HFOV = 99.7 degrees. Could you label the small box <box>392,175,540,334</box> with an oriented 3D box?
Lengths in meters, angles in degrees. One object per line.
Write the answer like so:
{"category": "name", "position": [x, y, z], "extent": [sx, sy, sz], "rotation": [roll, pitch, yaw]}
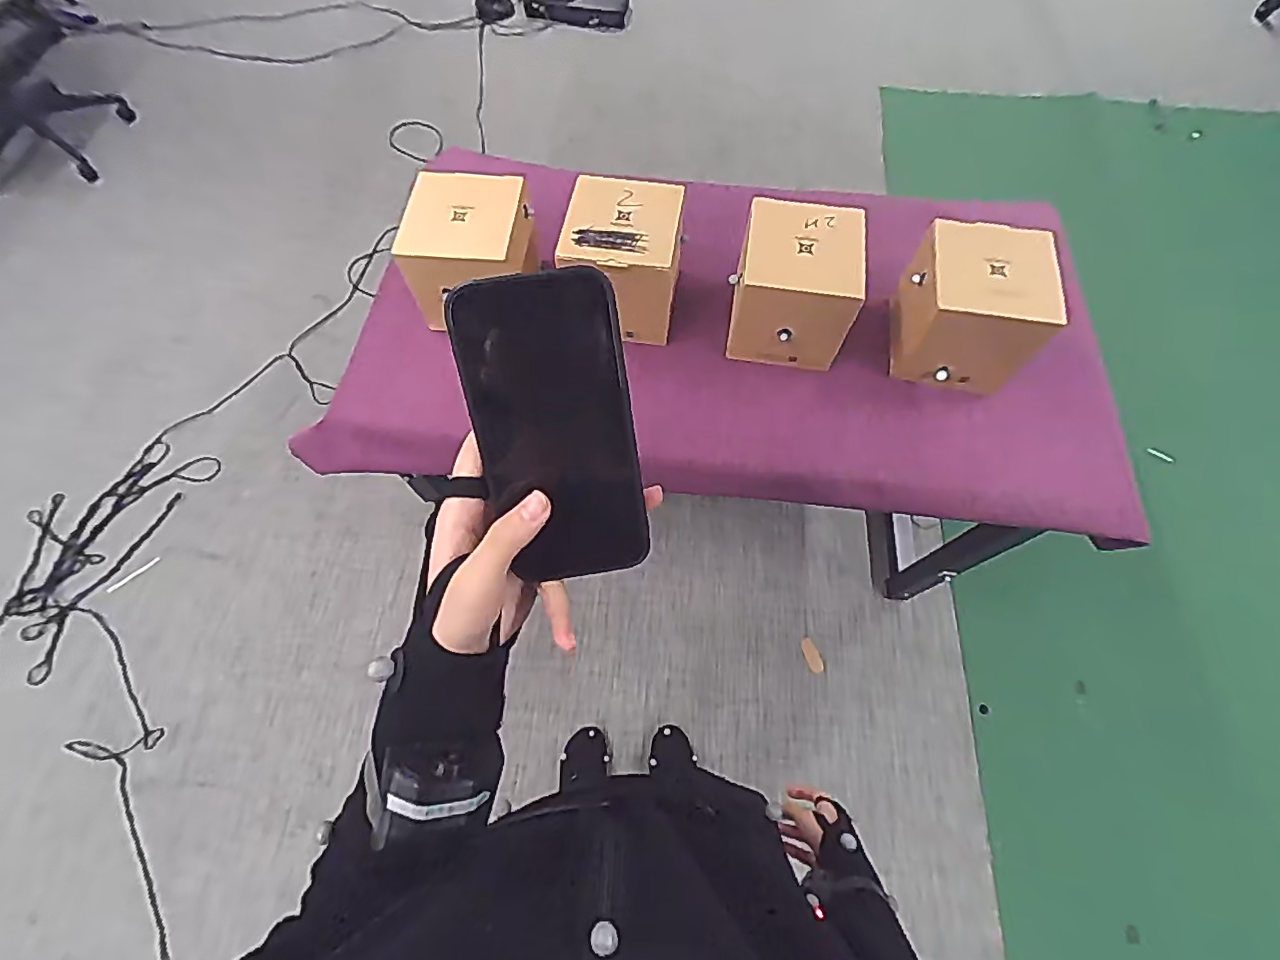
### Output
{"category": "small box", "position": [-0.264, -0.354, 0.866], "extent": [0.168, 0.176, 0.179], "rotation": [3, 64, 2]}

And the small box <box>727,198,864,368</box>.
{"category": "small box", "position": [0.233, -0.297, 0.838], "extent": [0.168, 0.176, 0.179], "rotation": [9, 65, 4]}

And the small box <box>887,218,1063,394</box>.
{"category": "small box", "position": [0.490, -0.259, 0.821], "extent": [0.168, 0.176, 0.179], "rotation": [10, 66, 6]}
